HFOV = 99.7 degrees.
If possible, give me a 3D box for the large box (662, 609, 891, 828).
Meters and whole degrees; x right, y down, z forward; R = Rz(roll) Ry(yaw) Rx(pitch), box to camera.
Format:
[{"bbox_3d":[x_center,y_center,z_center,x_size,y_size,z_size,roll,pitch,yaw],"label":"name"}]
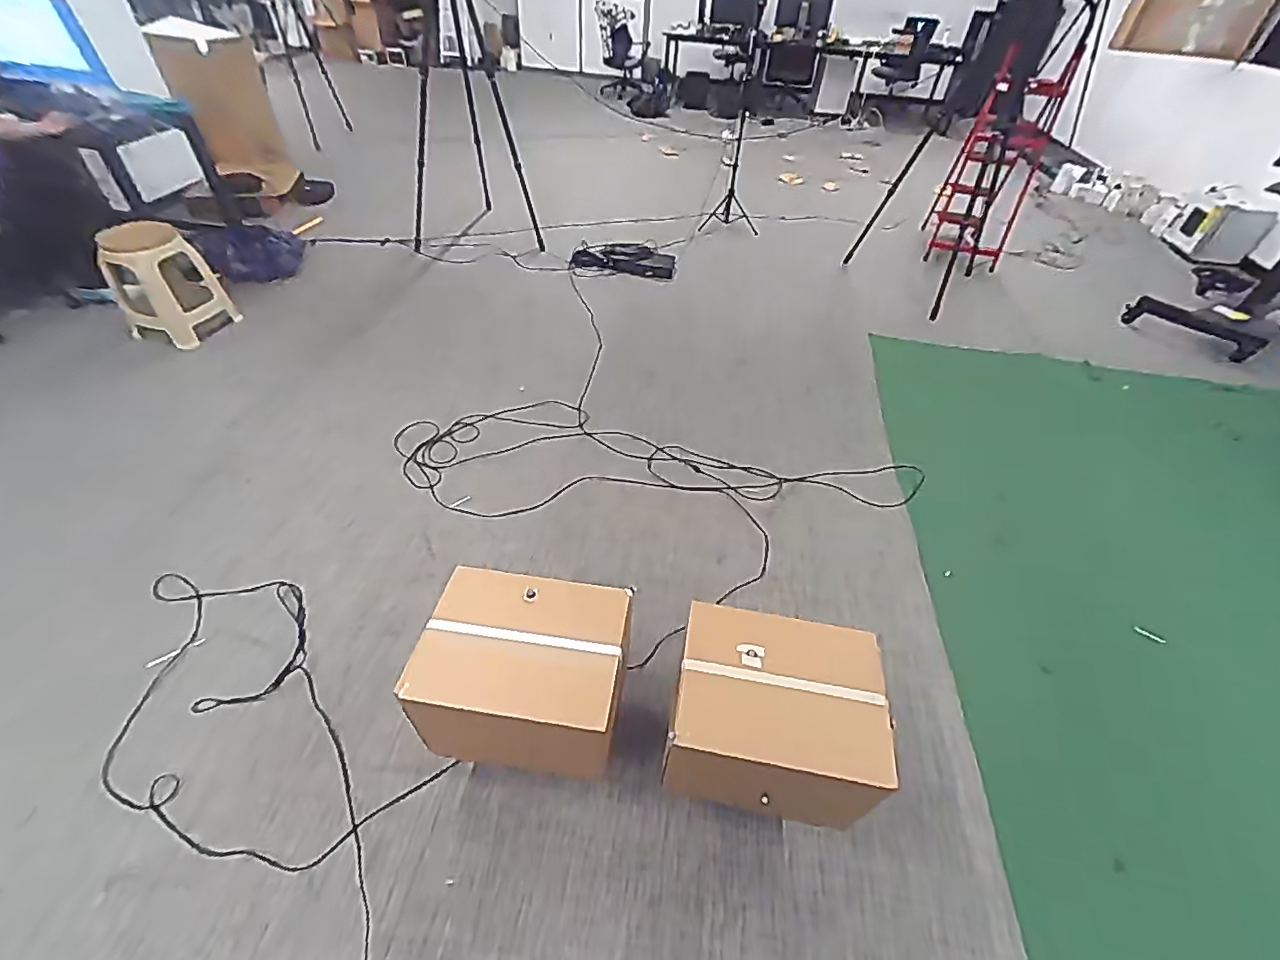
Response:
[{"bbox_3d":[0.276,0.526,1.192,0.408,0.320,0.320,9,45,6],"label":"large box"}]
